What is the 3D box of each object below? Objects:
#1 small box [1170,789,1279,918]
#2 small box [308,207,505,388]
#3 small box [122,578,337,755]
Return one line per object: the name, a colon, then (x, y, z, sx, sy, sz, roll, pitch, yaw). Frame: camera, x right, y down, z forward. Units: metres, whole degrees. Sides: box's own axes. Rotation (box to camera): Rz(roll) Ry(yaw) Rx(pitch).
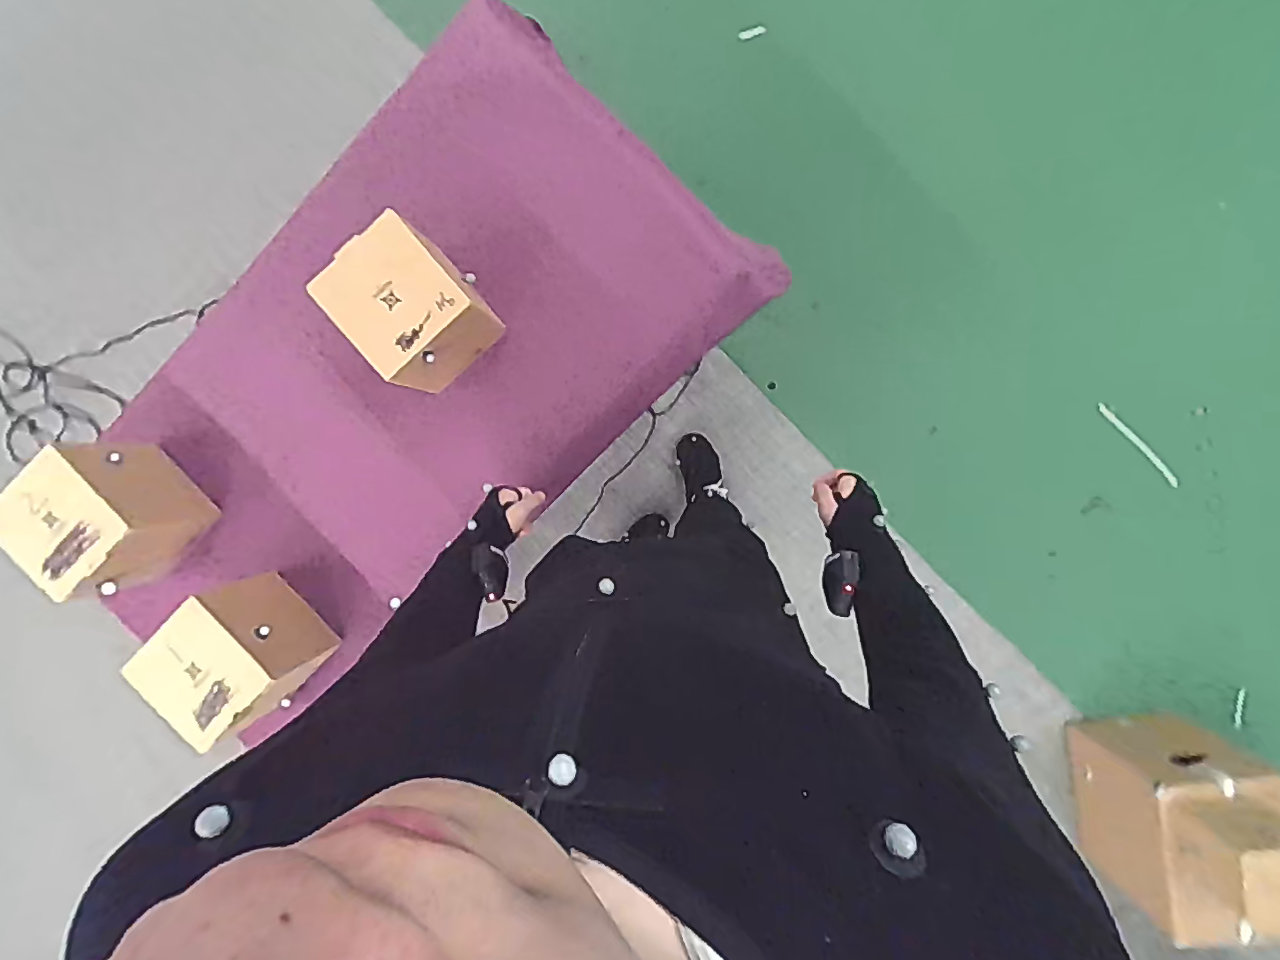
small box: (1.348, 0.817, 1.201, 0.179, 0.176, 0.168, -10, 93, 5)
small box: (-0.338, -0.259, 0.817, 0.168, 0.176, 0.179, -41, 90, 5)
small box: (-0.633, 0.281, 0.859, 0.179, 0.176, 0.168, 45, 94, 1)
